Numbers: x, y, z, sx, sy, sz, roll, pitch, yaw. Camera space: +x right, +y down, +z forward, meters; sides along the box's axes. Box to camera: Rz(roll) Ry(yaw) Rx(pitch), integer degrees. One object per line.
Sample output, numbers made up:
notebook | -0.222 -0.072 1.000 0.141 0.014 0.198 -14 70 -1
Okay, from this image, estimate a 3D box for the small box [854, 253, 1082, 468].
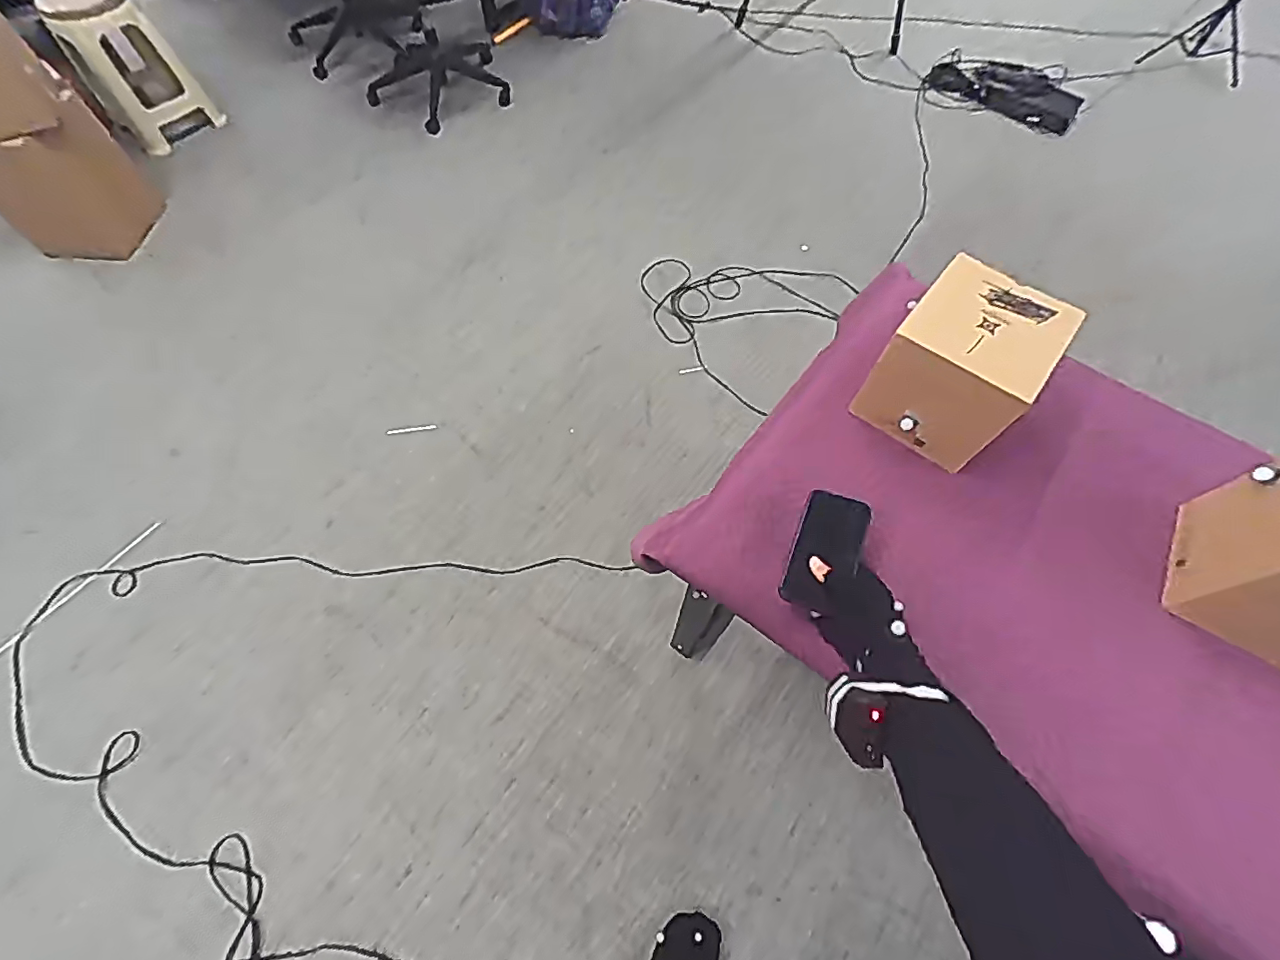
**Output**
small box | 0.412 -0.151 0.709 0.168 0.176 0.179 37 69 17
